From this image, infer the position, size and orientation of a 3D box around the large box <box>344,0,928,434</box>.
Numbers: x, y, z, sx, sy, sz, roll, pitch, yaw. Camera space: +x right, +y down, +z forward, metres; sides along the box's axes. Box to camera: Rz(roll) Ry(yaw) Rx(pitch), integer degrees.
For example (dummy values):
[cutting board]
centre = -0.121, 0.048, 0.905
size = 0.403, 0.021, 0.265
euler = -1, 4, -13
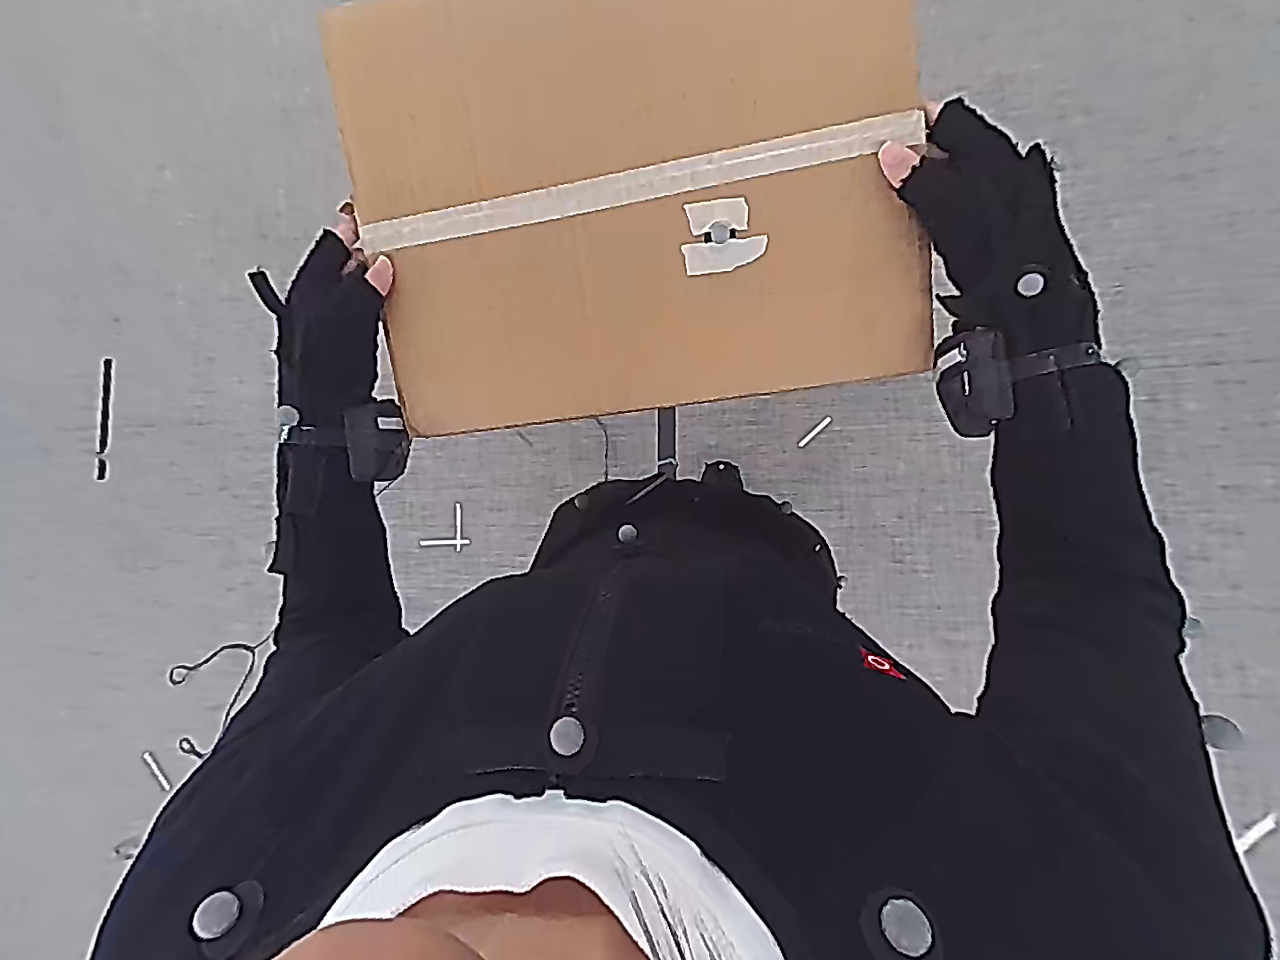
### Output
[large box]
centre = 0.010, -0.241, 0.543
size = 0.408, 0.320, 0.320
euler = -7, 101, 9
